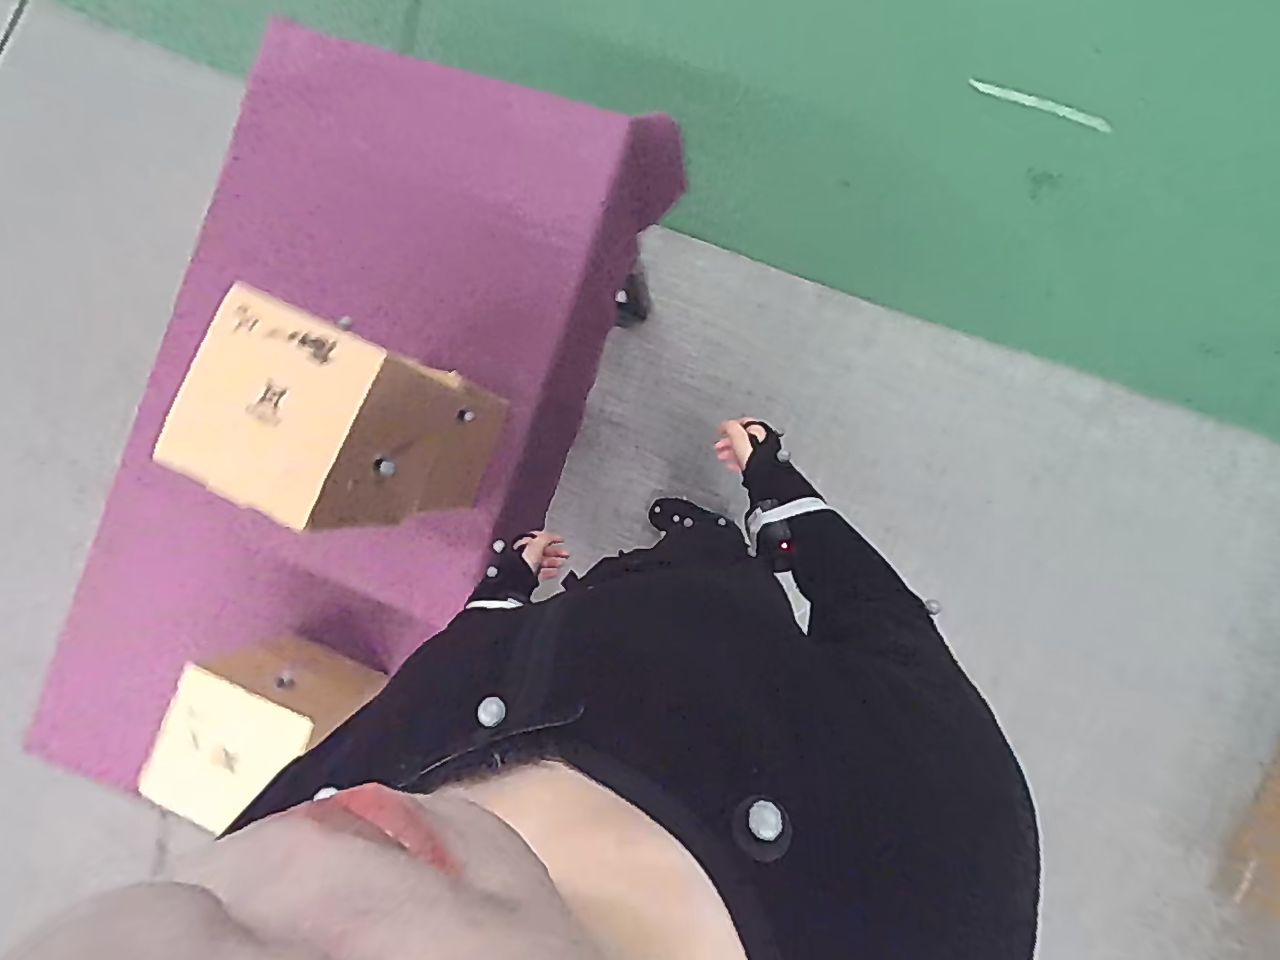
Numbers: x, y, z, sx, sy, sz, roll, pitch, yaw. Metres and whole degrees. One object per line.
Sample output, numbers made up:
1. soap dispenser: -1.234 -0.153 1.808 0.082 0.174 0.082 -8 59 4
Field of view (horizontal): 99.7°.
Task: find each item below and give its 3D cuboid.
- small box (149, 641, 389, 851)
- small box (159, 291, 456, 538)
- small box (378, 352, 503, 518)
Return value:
1. small box: -0.475 0.334 0.721 0.179 0.176 0.168 21 89 6
2. small box: -0.320 -0.057 0.558 0.168 0.176 0.179 24 90 6
3. small box: -0.305 -0.058 0.722 0.168 0.176 0.179 19 89 6
